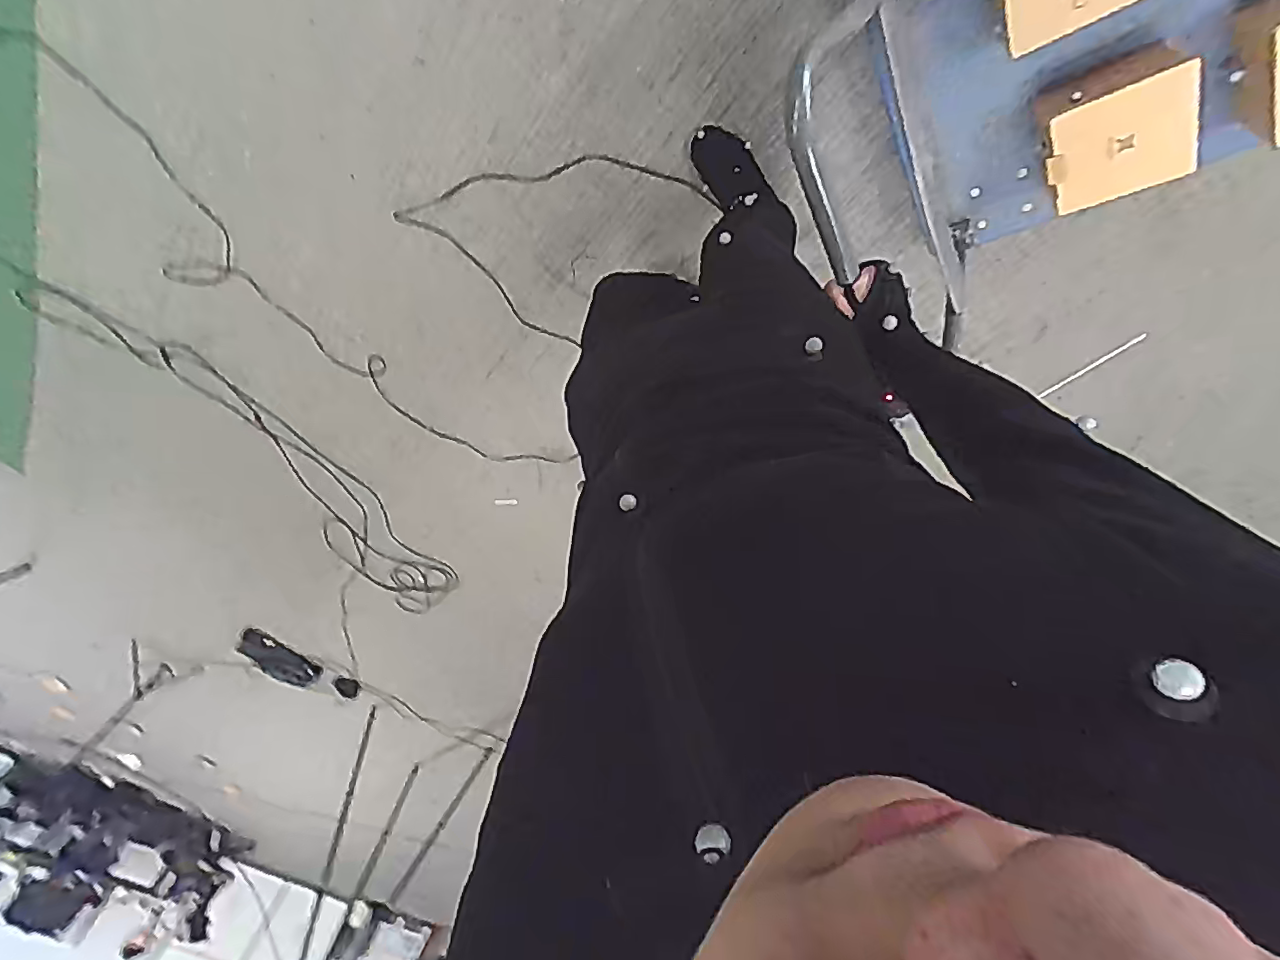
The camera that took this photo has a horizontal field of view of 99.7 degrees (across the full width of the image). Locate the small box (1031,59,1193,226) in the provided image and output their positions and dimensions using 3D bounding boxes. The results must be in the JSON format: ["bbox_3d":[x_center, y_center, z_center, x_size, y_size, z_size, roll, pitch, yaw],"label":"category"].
[{"bbox_3d":[0.786,-0.570,0.915,0.179,0.176,0.168,-9,127,35],"label":"small box"}]

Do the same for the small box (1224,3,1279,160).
[{"bbox_3d":[0.987,-0.603,0.771,0.179,0.176,0.168,-12,125,38],"label":"small box"}]
